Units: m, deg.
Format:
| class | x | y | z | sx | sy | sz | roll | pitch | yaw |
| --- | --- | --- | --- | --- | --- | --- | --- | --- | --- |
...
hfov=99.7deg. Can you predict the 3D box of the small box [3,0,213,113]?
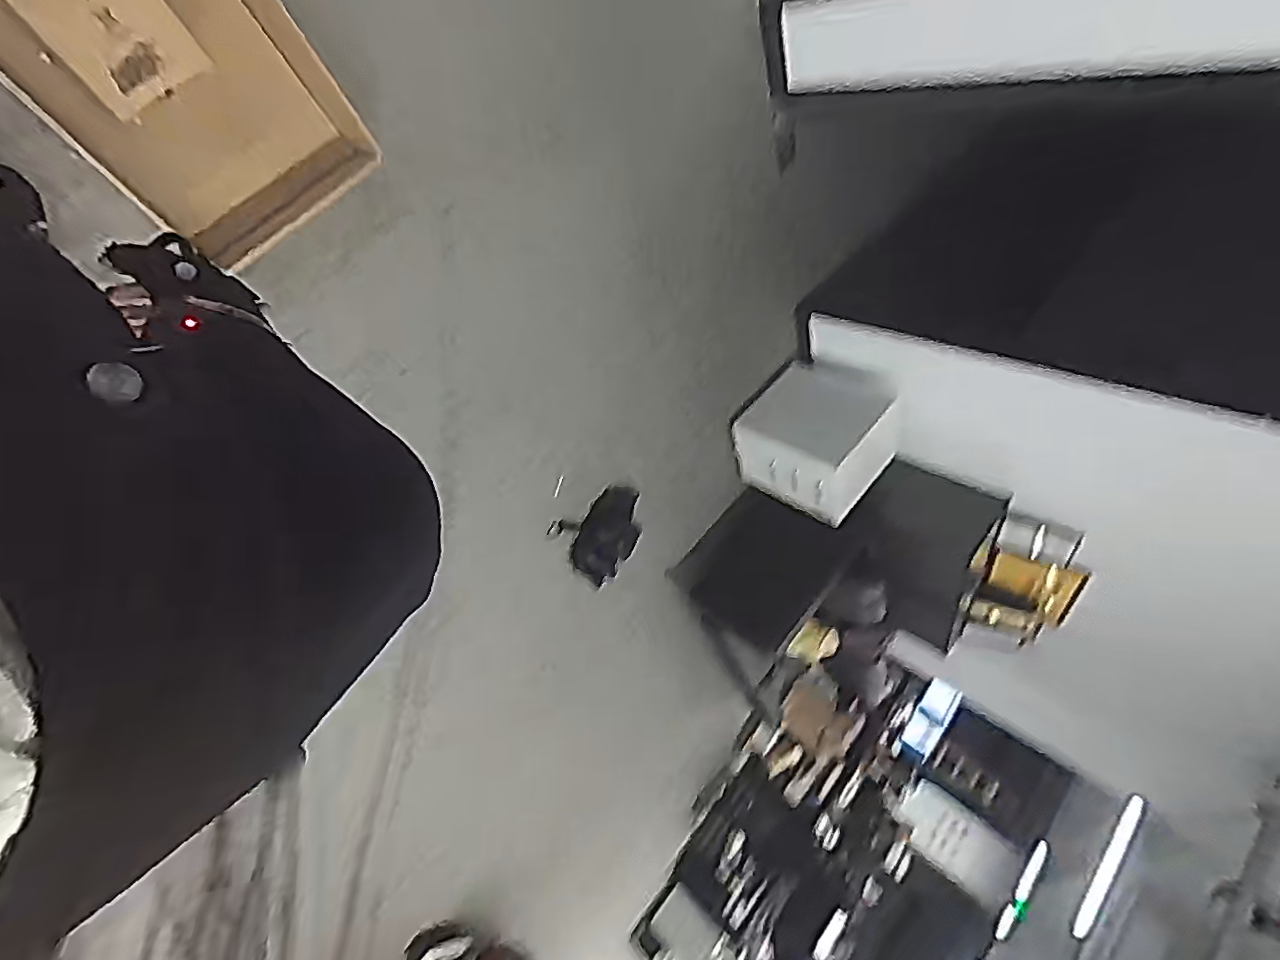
| class | x | y | z | sx | sy | sz | roll | pitch | yaw |
| --- | --- | --- | --- | --- | --- | --- | --- | --- | --- |
| small box | -0.803 | -0.686 | 0.815 | 0.168 | 0.176 | 0.179 | -47 | 139 | -17 |
